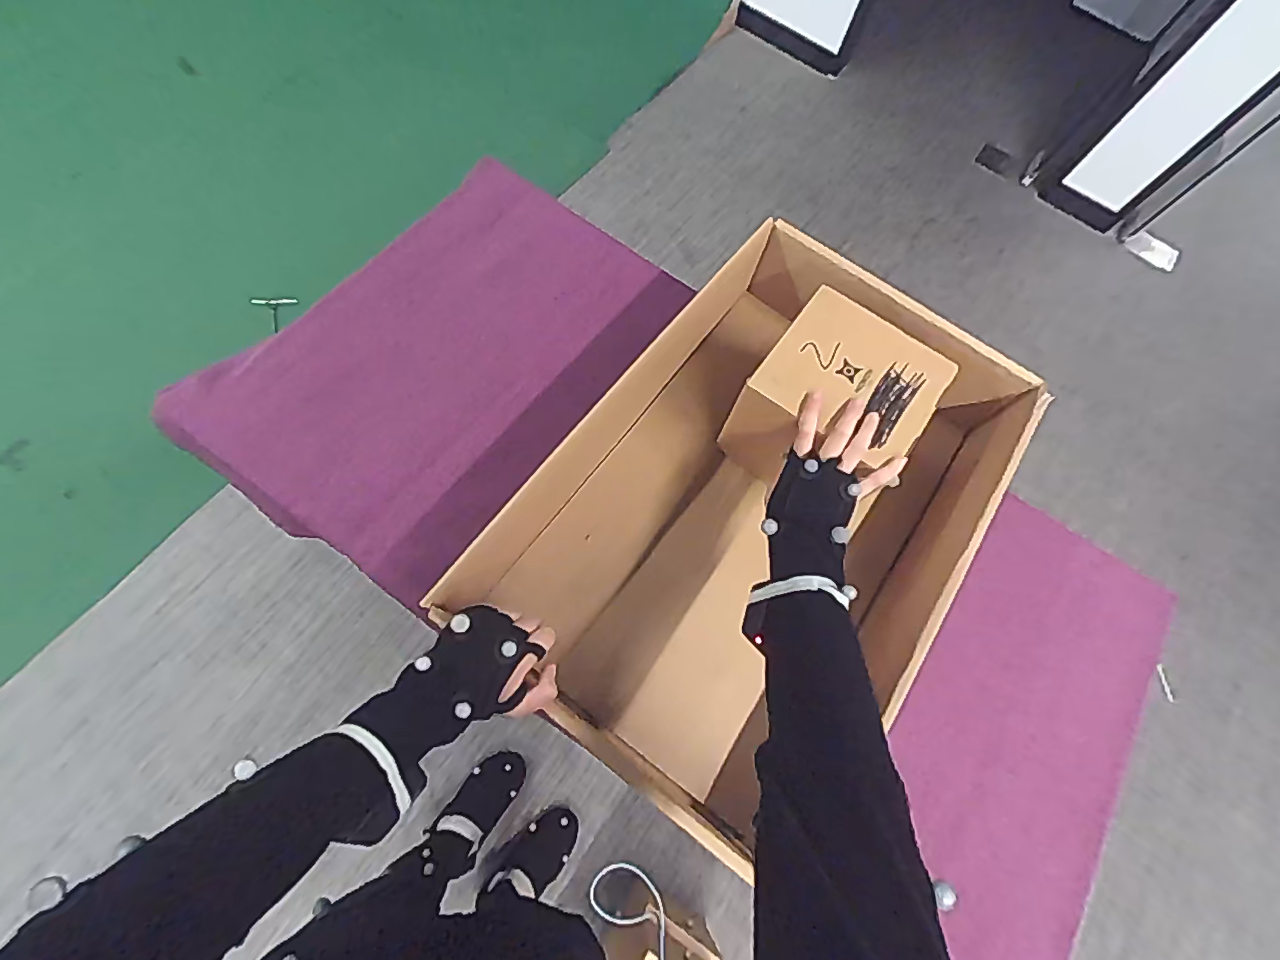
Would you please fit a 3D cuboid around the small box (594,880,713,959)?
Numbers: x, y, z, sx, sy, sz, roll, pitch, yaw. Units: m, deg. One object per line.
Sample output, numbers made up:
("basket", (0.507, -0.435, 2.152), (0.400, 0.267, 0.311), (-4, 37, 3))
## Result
("small box", (0.023, 0.952, 1.081), (0.179, 0.176, 0.168), (34, 70, 7))
